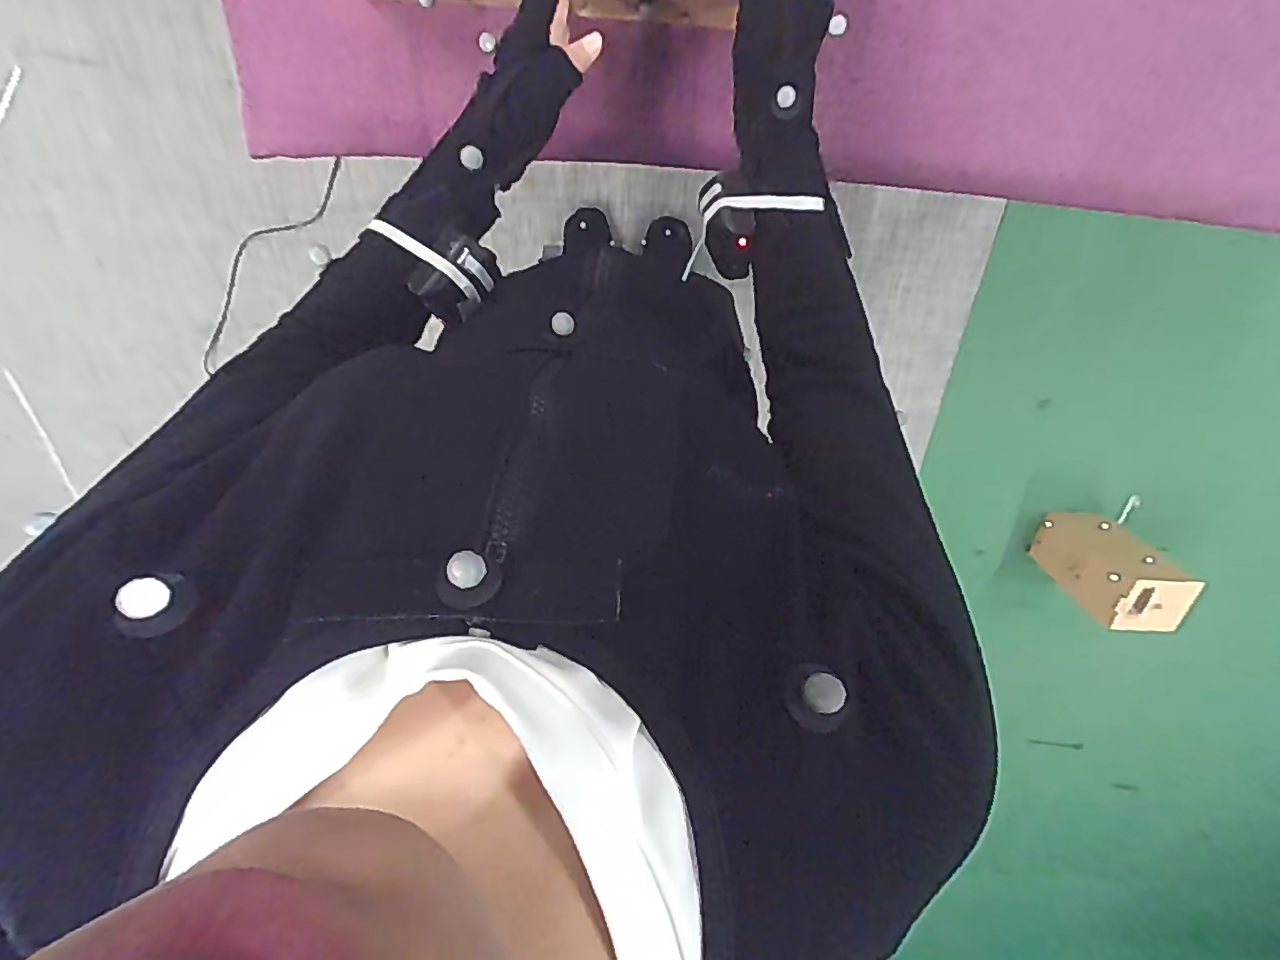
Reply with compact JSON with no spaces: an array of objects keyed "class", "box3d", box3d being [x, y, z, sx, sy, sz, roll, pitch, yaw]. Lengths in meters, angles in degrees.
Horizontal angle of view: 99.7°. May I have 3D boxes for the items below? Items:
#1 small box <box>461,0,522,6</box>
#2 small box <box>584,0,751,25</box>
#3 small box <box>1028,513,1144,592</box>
[{"class":"small box","box3d":[-0.181,-0.505,0.412,0.168,0.176,0.179,3,118,-1]},{"class":"small box","box3d":[0.024,-0.493,0.419,0.168,0.176,0.179,4,118,-2]},{"class":"small box","box3d":[1.302,0.210,1.596,0.179,0.176,0.168,3,118,-2]}]
